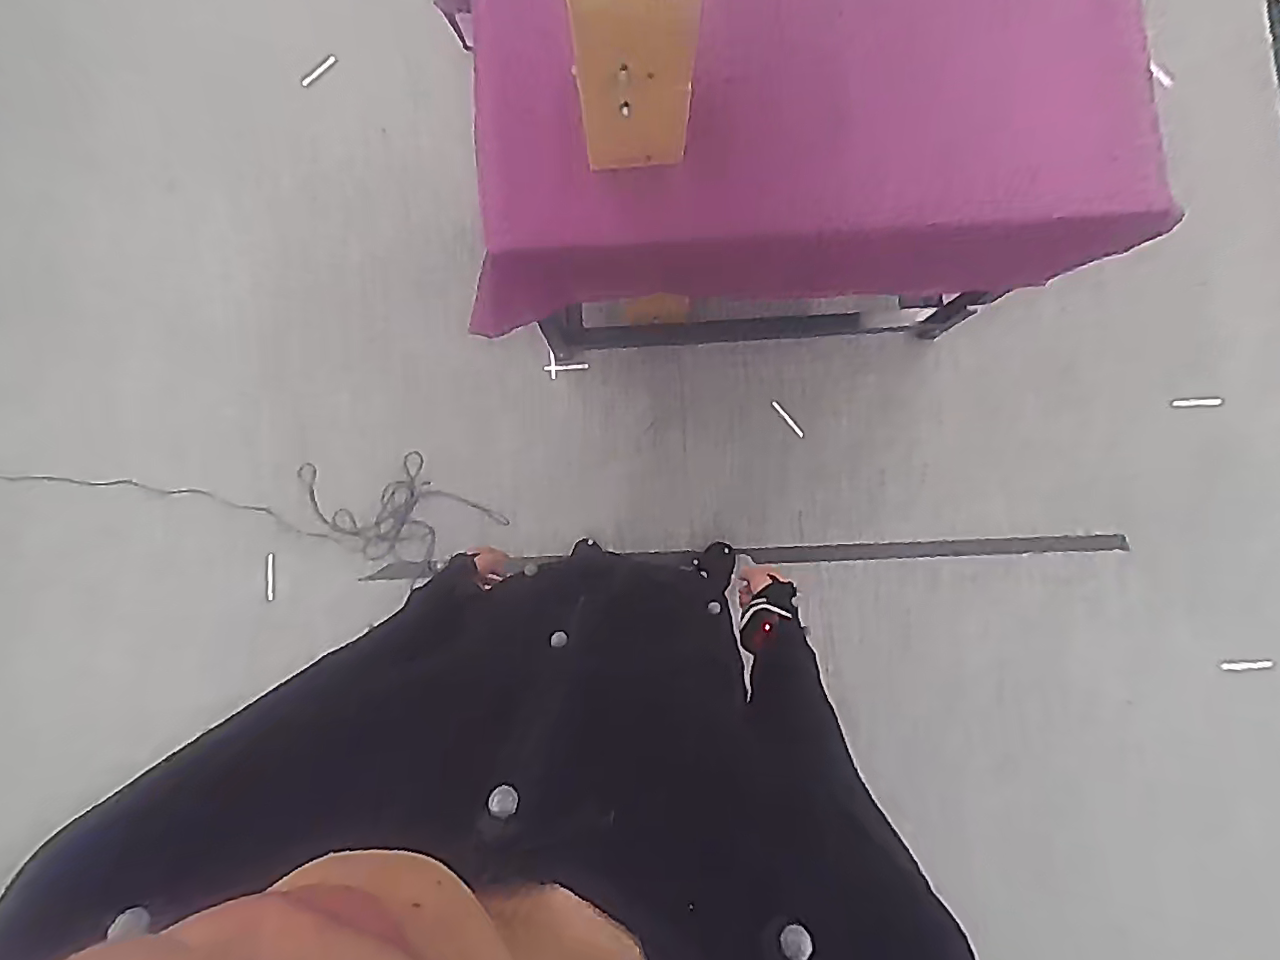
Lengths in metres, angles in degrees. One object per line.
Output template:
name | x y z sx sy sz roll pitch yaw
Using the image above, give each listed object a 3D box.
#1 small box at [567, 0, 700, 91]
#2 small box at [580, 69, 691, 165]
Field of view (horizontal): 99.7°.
small box | -0.017 -0.663 0.712 0.168 0.176 0.179 -7 86 -1
small box | -0.013 -0.650 0.876 0.168 0.176 0.179 -5 86 -1
